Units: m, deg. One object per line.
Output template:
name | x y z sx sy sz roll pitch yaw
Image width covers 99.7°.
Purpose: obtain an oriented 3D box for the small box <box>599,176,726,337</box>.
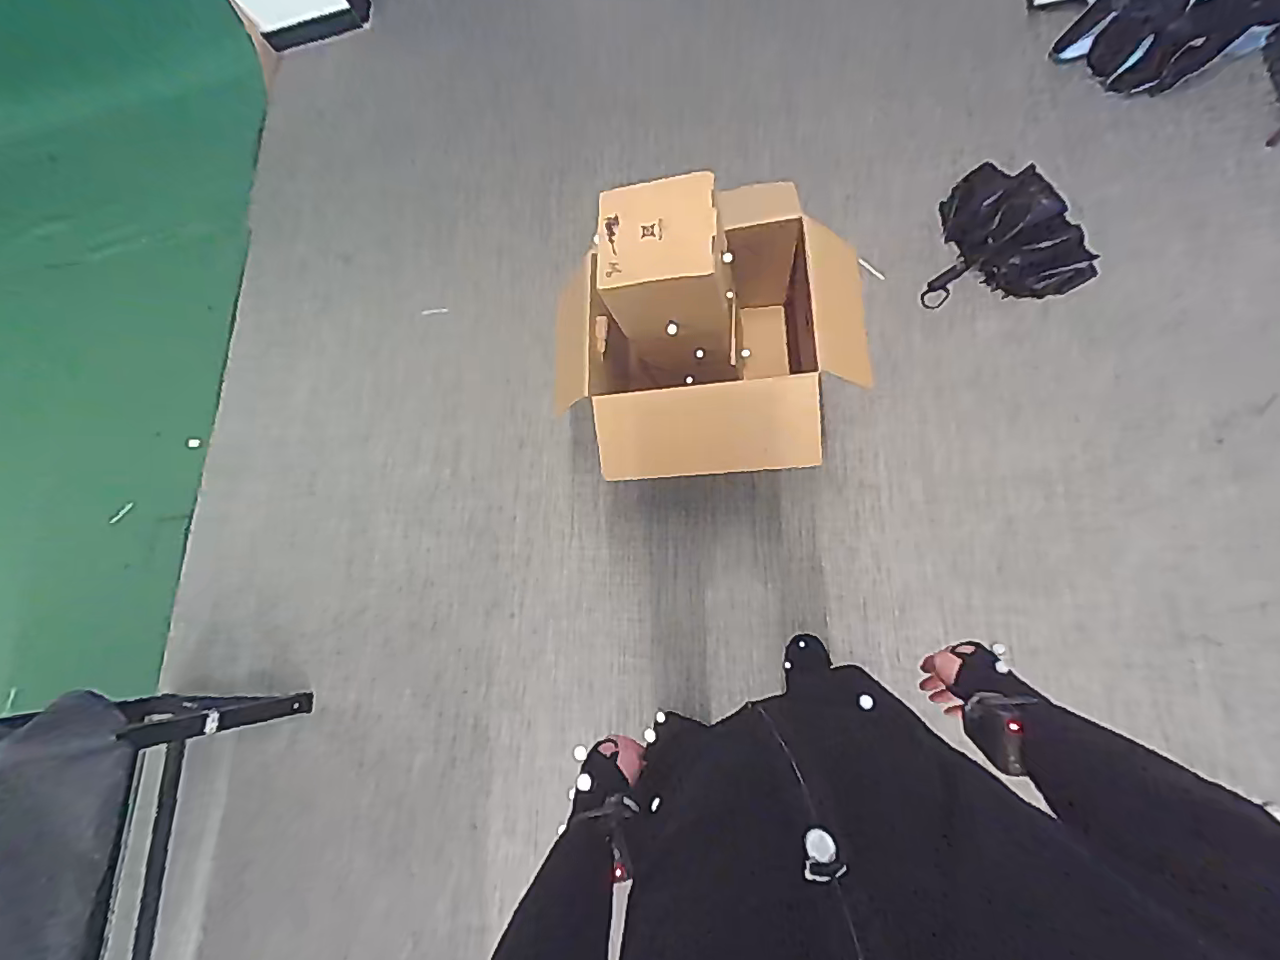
small box | 0.045 -0.343 0.861 0.179 0.176 0.168 -2 78 14
